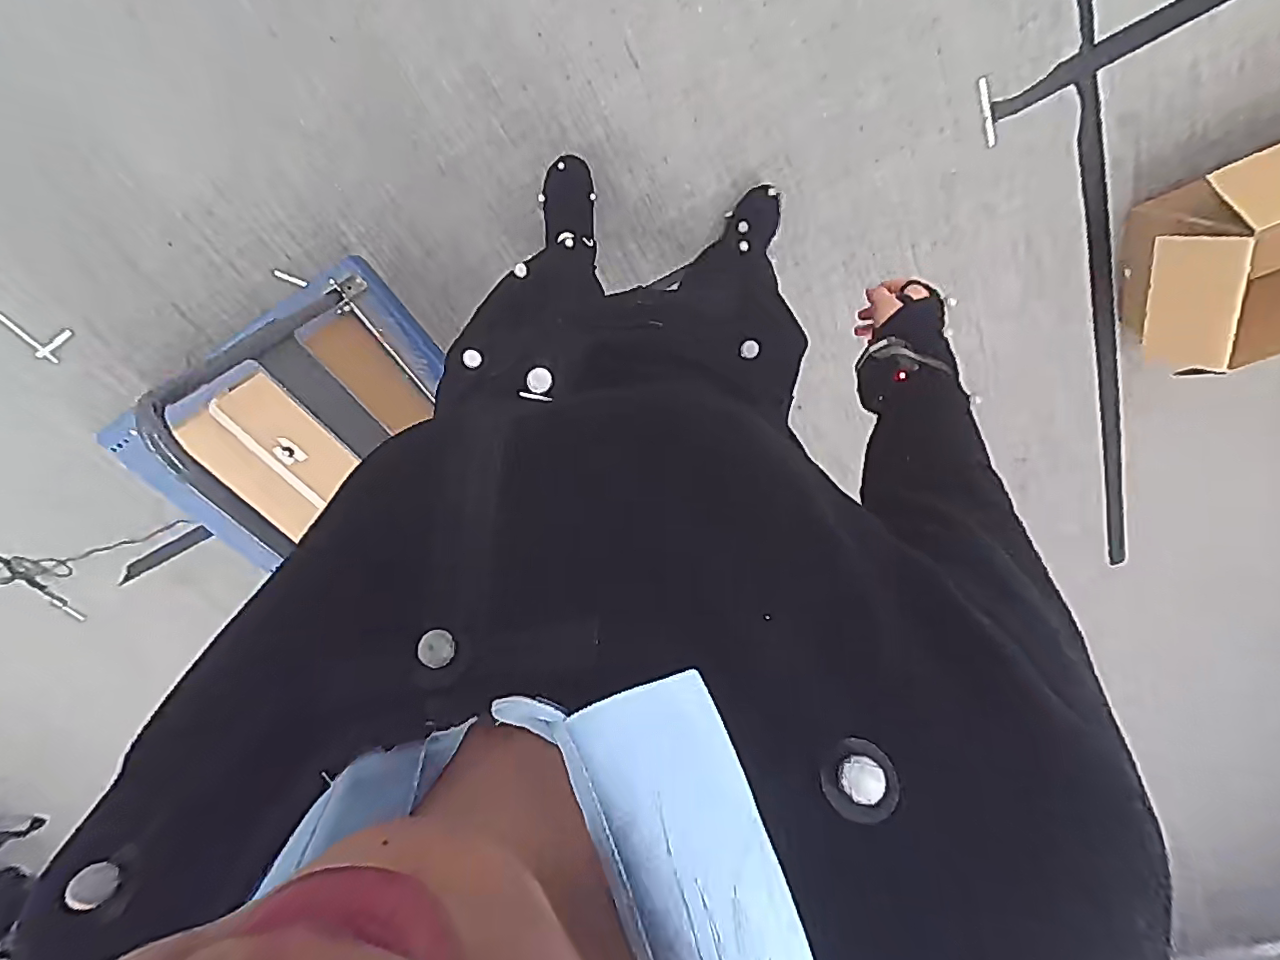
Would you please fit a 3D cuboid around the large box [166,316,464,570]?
[{"bbox_3d":[-0.668,-0.081,1.199,0.320,0.320,0.408,-26,120,14],"label":"large box"}]
